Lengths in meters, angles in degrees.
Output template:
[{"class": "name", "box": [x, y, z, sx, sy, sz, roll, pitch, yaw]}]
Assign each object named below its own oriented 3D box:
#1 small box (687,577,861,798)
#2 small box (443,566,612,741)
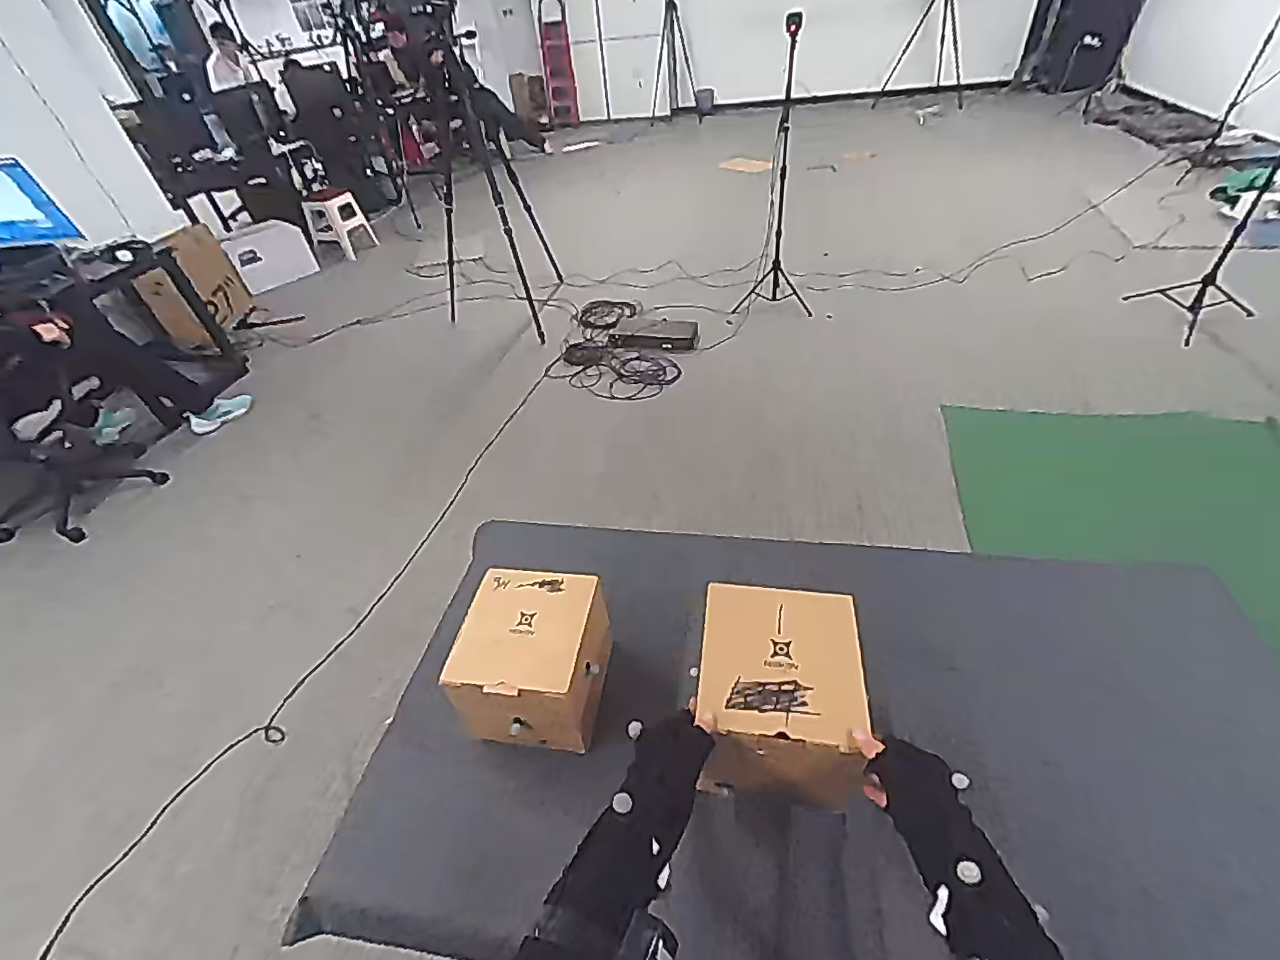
[{"class": "small box", "box": [0.148, 0.240, 0.627, 0.168, 0.176, 0.179, 4, 42, 10]}, {"class": "small box", "box": [-0.143, 0.246, 0.765, 0.168, 0.176, 0.179, 2, 44, 11]}]
